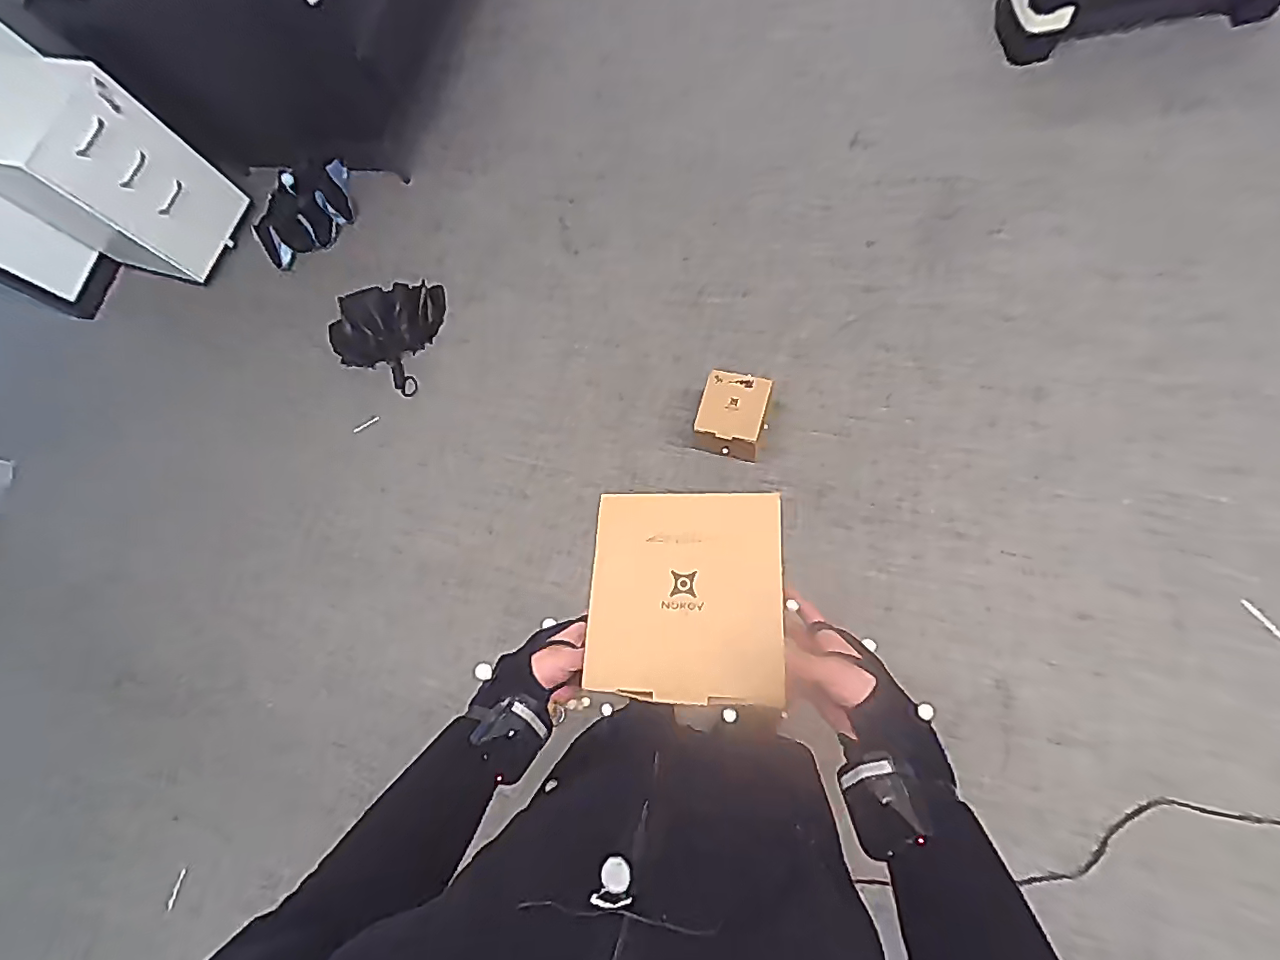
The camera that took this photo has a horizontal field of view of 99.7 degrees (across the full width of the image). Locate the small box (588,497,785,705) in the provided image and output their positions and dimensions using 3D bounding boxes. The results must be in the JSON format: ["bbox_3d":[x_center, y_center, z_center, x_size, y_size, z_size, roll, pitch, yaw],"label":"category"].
[{"bbox_3d":[0.055,0.127,0.540,0.168,0.176,0.179,-1,66,10],"label":"small box"}]

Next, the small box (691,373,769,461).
[{"bbox_3d":[0.249,-0.164,1.466,0.168,0.176,0.179,14,78,16],"label":"small box"}]
